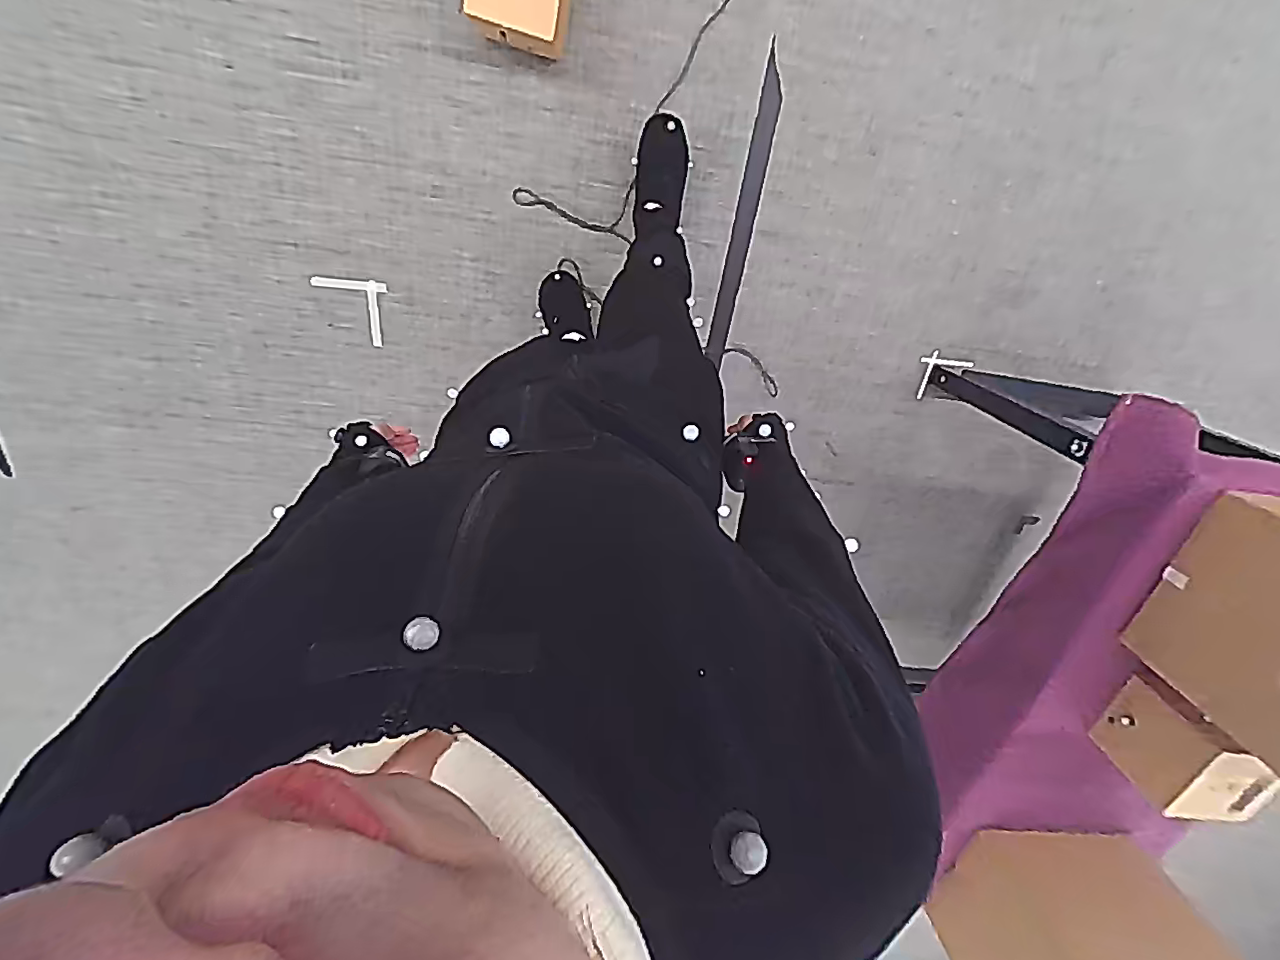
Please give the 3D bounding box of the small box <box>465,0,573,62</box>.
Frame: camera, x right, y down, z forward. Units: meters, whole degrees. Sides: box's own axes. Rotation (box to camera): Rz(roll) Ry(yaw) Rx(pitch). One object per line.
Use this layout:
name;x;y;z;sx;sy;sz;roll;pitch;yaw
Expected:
small box;-0.216;-0.924;1.013;0.168;0.176;0.179;12;115;-9
